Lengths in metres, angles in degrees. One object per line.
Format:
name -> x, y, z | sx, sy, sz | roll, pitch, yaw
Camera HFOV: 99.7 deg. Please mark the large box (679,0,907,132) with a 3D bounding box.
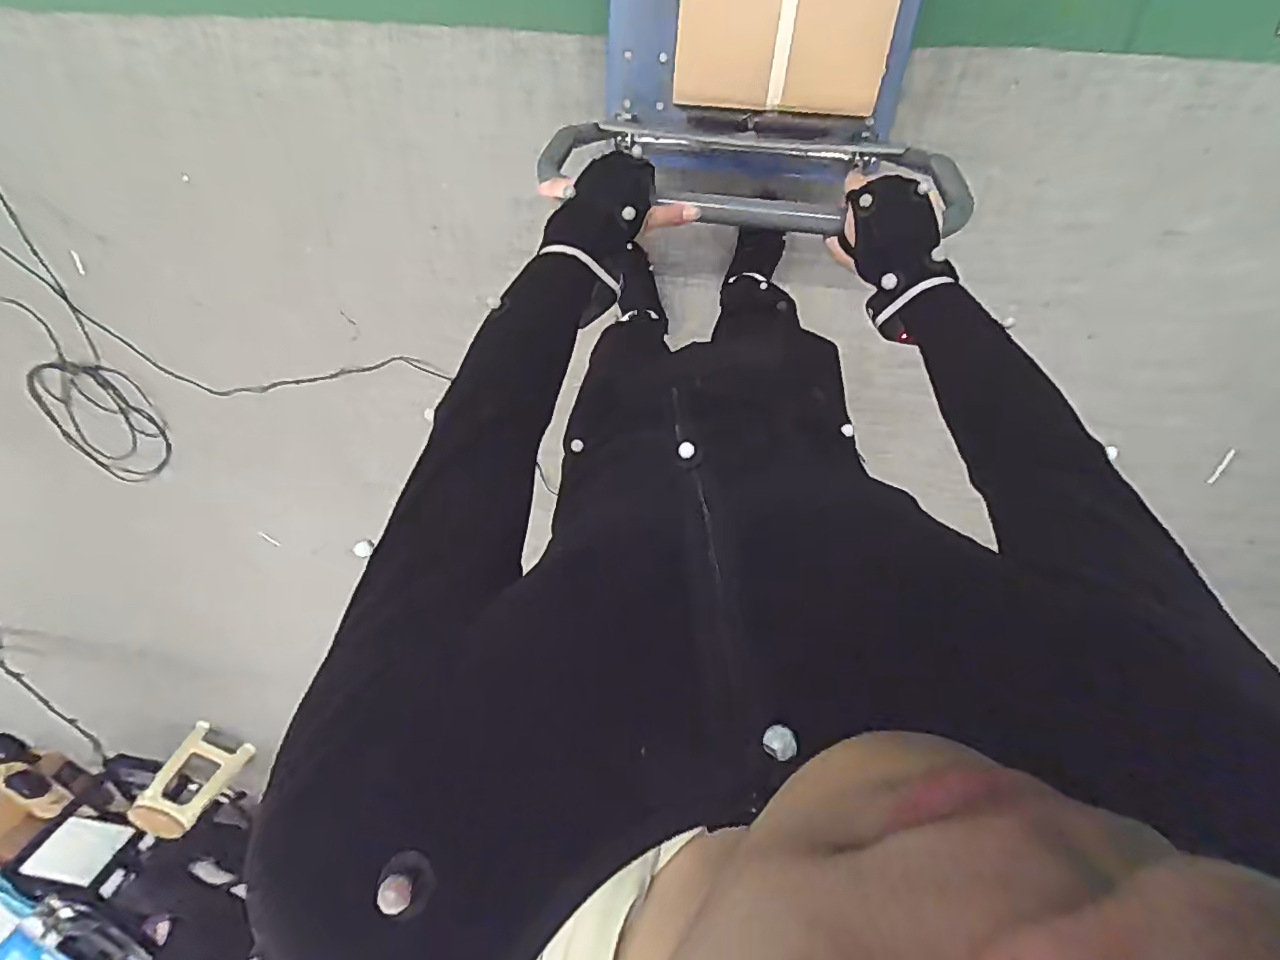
large box -> 0.246, -0.809, 0.867 | 0.320, 0.320, 0.408 | 7, 120, 5
